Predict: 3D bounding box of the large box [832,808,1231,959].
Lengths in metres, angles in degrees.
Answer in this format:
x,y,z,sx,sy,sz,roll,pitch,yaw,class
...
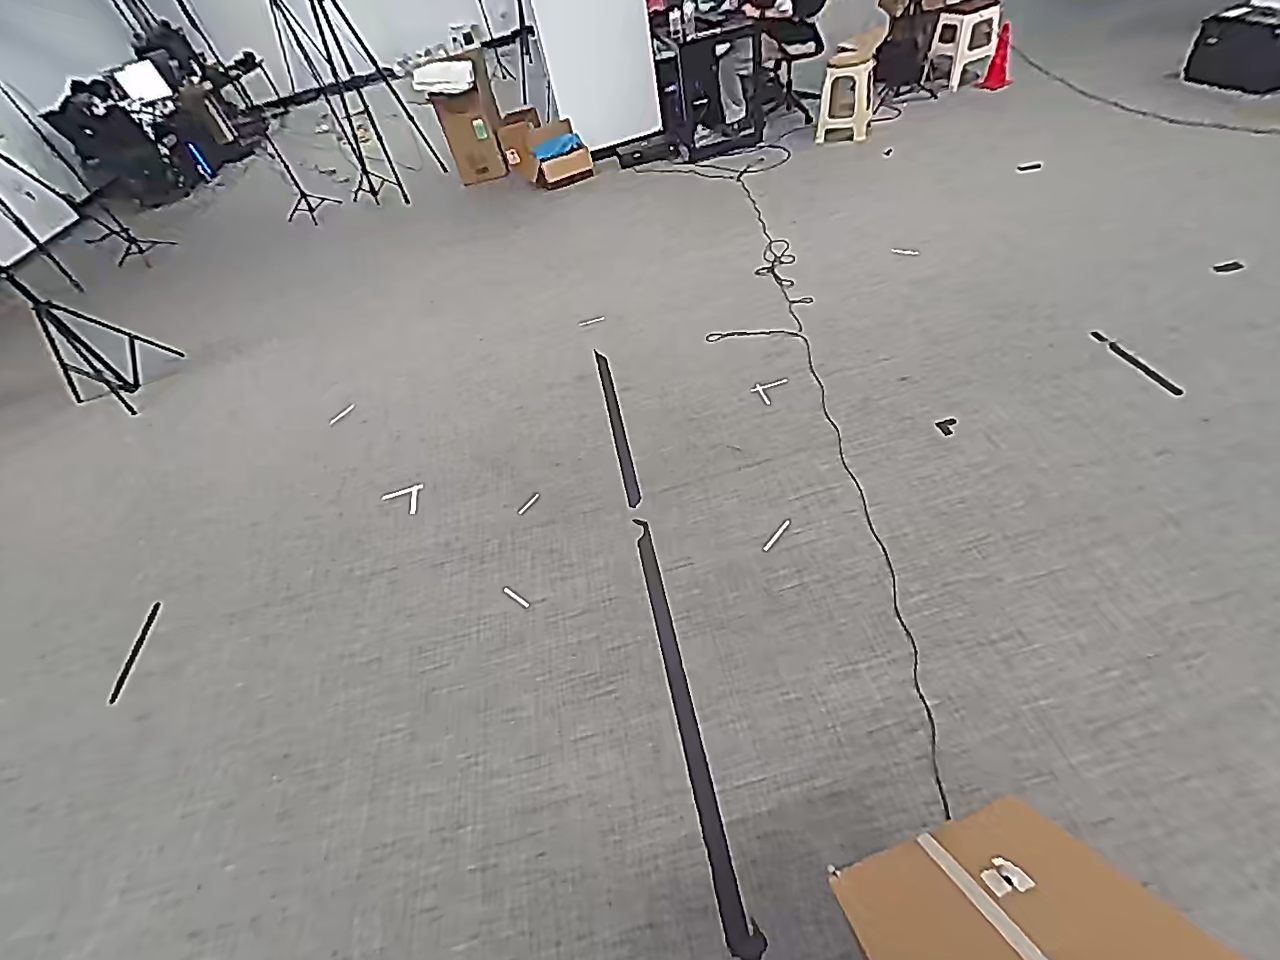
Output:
x,y,z,sx,sy,sz,roll,pitch,yaw,class
0.485,0.669,0.605,0.320,0.408,0.320,-21,84,-2,large box
